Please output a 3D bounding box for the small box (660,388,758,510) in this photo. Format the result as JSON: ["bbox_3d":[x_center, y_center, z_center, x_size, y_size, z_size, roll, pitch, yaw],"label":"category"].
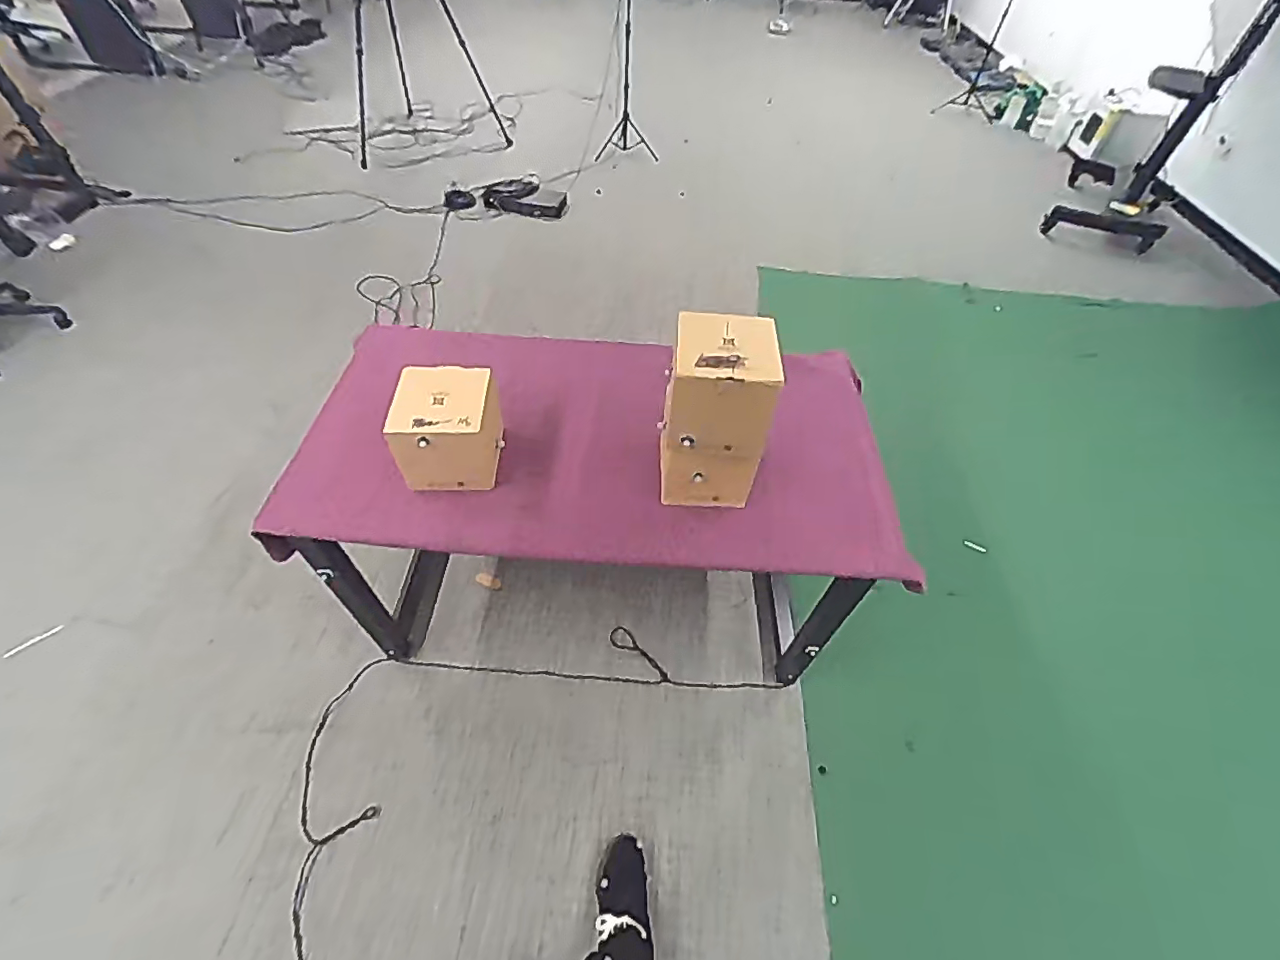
[{"bbox_3d":[0.128,-0.057,1.057,0.168,0.176,0.179,2,50,-1],"label":"small box"}]

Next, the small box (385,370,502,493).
[{"bbox_3d":[-0.369,-0.094,1.053,0.168,0.176,0.179,-1,51,-3],"label":"small box"}]

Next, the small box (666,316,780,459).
[{"bbox_3d":[0.134,-0.155,0.924,0.168,0.176,0.179,5,49,1],"label":"small box"}]
